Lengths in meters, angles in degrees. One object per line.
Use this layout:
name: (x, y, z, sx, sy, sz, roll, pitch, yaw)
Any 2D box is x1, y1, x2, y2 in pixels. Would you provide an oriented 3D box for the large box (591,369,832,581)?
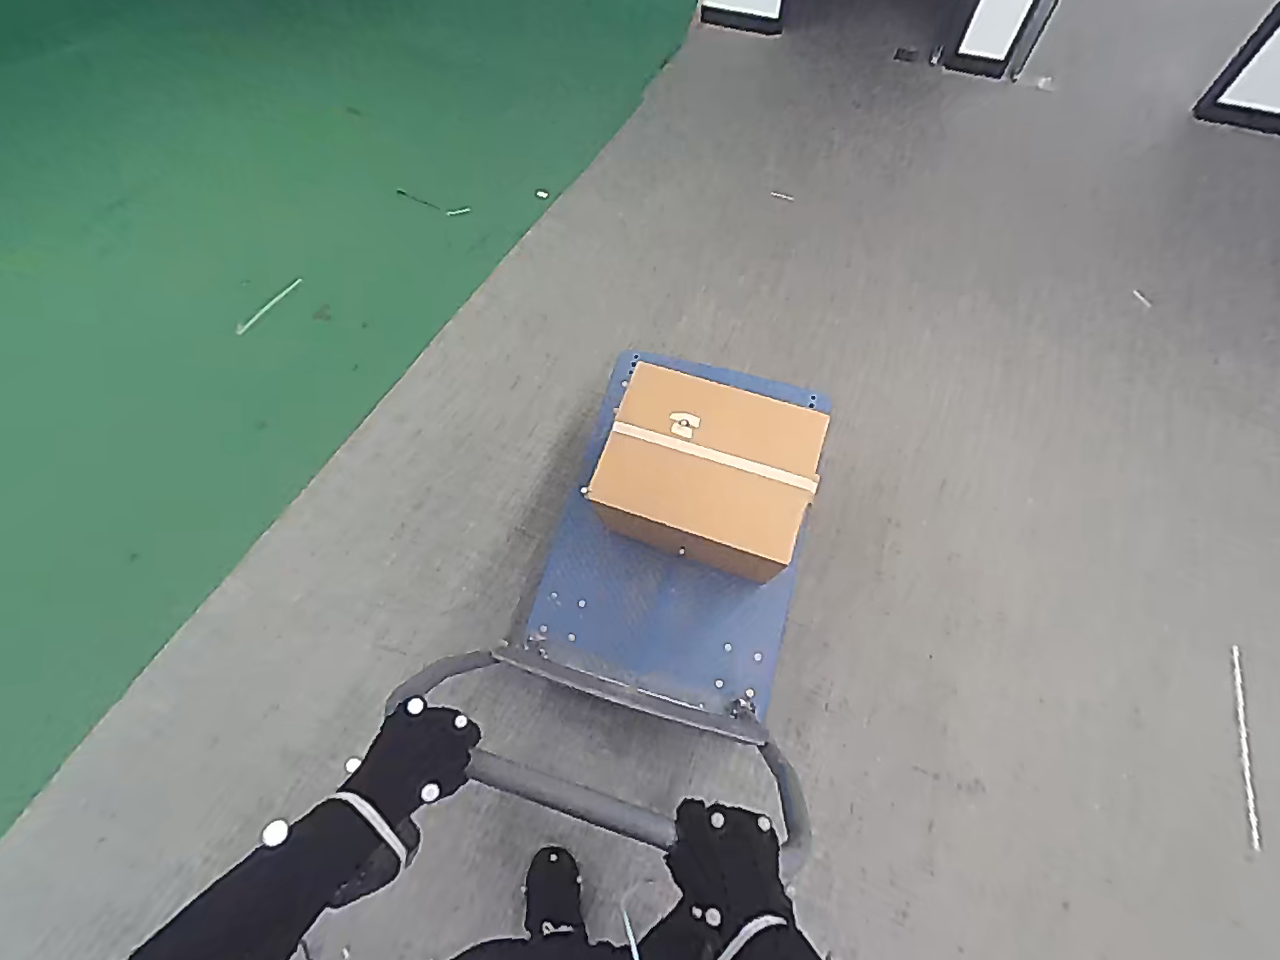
large box: (0.156, 0.005, 1.187, 0.408, 0.320, 0.320, 18, 75, 11)
